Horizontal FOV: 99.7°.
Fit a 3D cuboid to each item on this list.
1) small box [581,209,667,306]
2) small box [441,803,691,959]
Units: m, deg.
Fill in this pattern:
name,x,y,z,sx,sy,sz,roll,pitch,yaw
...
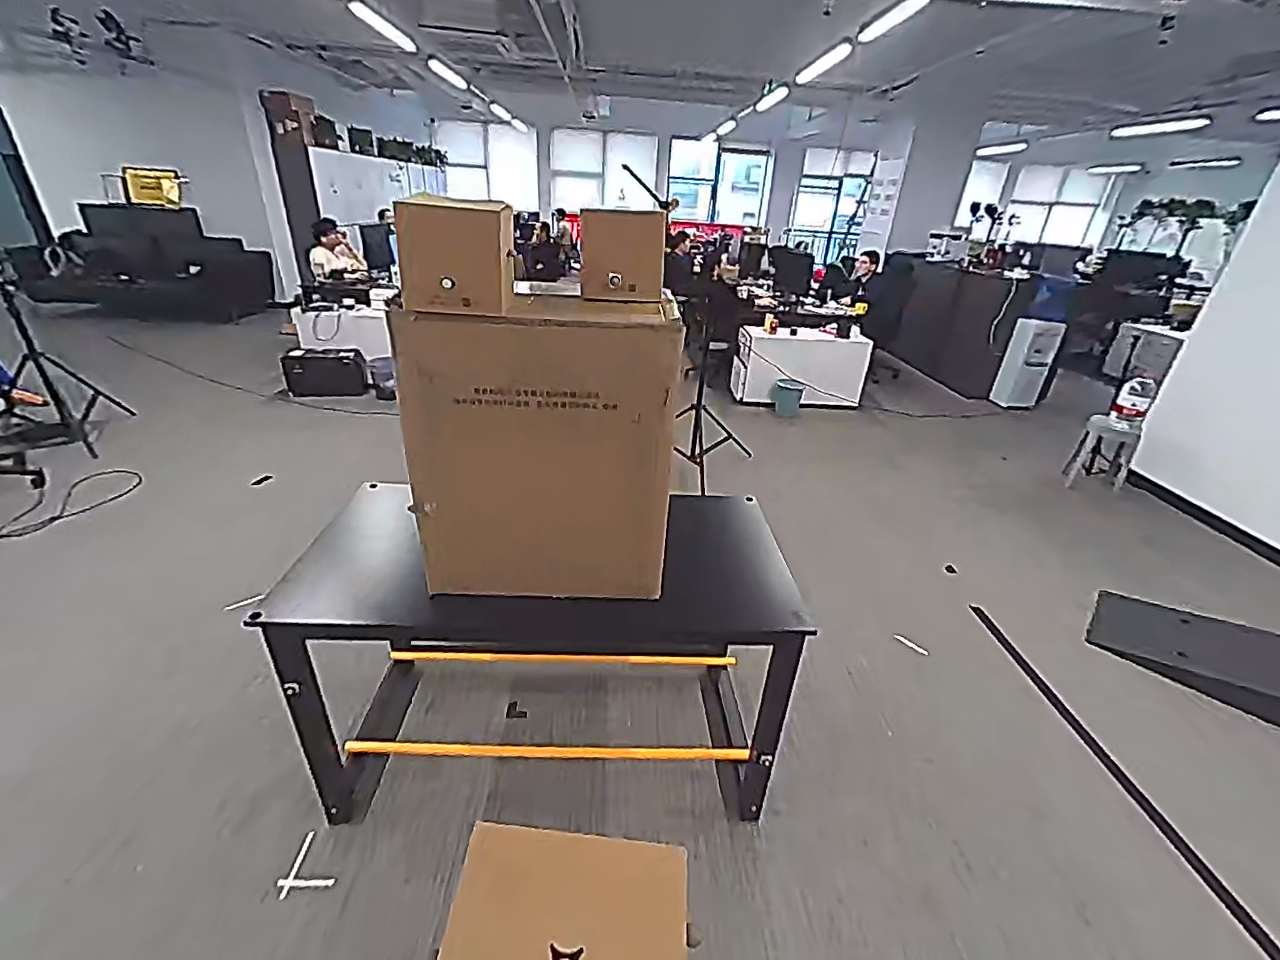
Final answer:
name,x,y,z,sx,sy,sz,roll,pitch,yaw
small box,-0.032,-0.464,1.124,0.168,0.176,0.179,1,27,0
small box,-0.056,0.378,0.405,0.168,0.176,0.179,7,39,0
